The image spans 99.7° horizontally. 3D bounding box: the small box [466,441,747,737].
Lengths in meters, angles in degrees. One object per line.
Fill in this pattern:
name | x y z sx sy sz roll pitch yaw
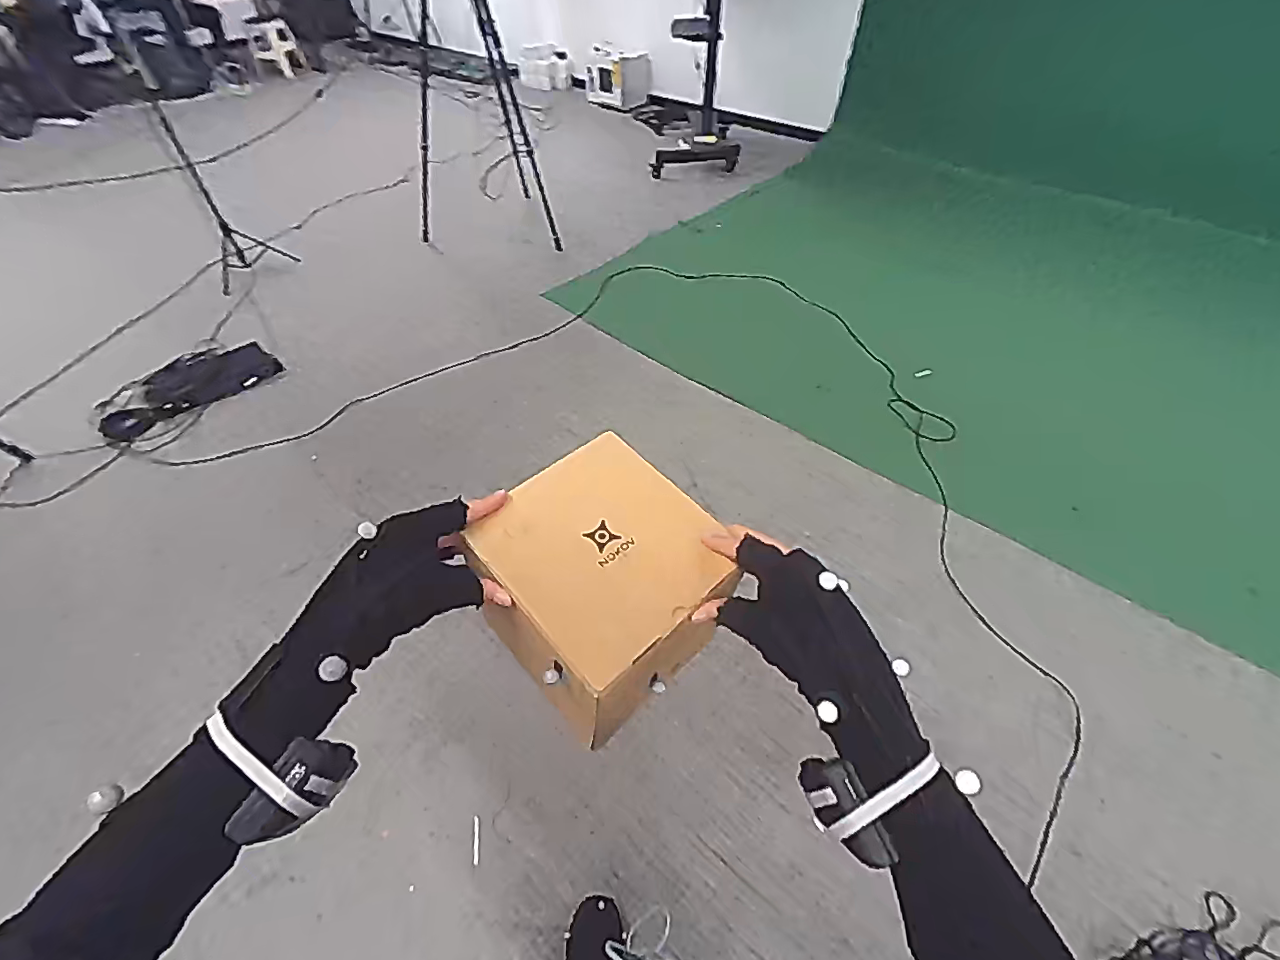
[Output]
small box | -0.036 0.102 0.501 0.168 0.176 0.179 -33 63 -29
